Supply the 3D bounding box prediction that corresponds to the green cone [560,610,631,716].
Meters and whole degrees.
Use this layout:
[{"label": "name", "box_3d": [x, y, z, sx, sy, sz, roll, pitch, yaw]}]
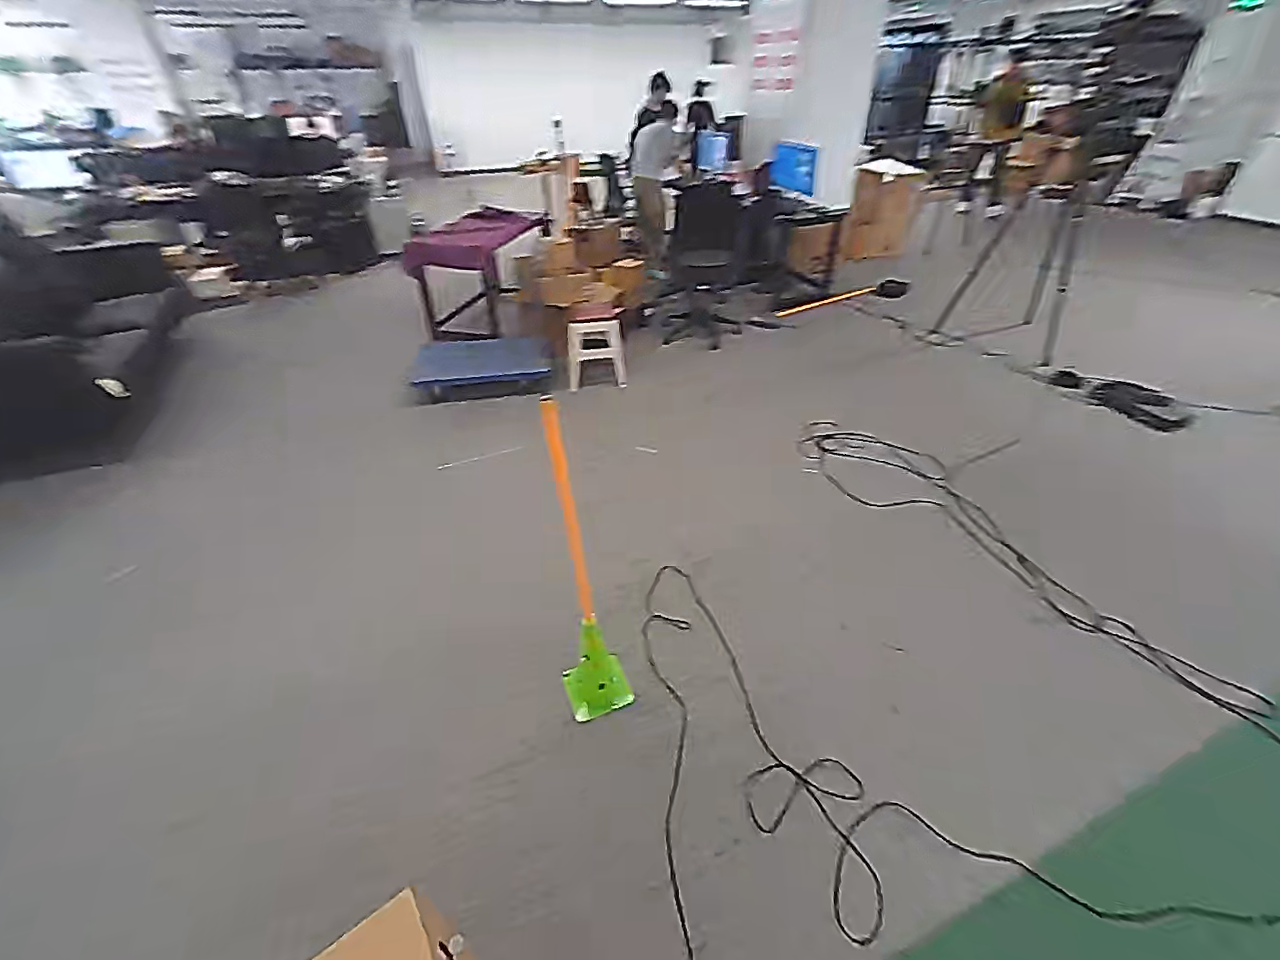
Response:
[{"label": "green cone", "box_3d": [-0.153, 0.555, 1.738, 0.202, 0.368, 0.200, -15, 40, -19]}]
